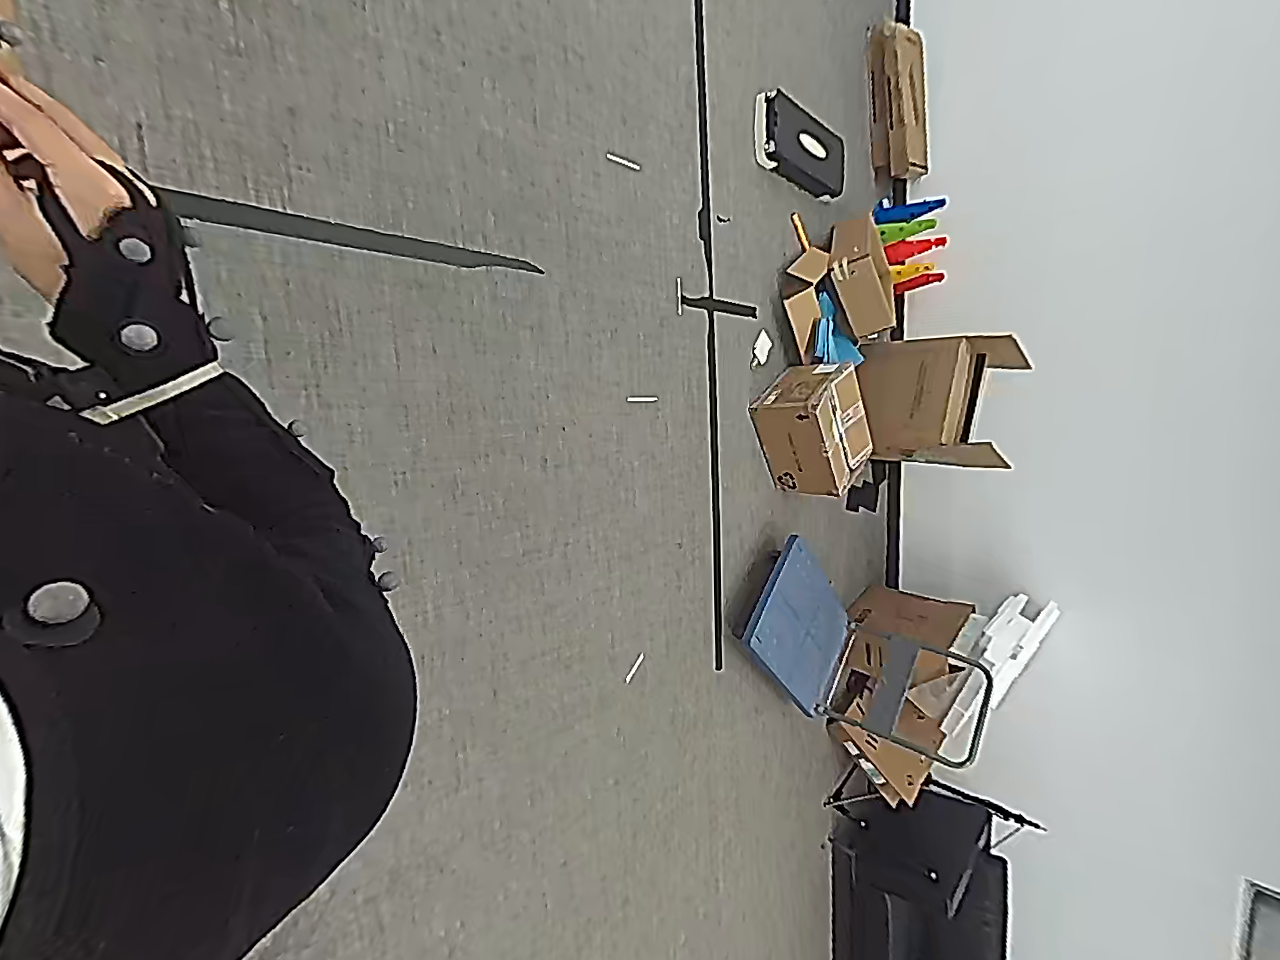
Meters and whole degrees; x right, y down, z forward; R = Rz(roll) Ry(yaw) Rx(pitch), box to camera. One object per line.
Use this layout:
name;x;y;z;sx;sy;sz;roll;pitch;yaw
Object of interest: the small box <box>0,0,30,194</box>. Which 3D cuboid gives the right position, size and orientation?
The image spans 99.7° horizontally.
small box;-0.440;-0.260;0.259;0.179;0.176;0.168;-6;94;-39
